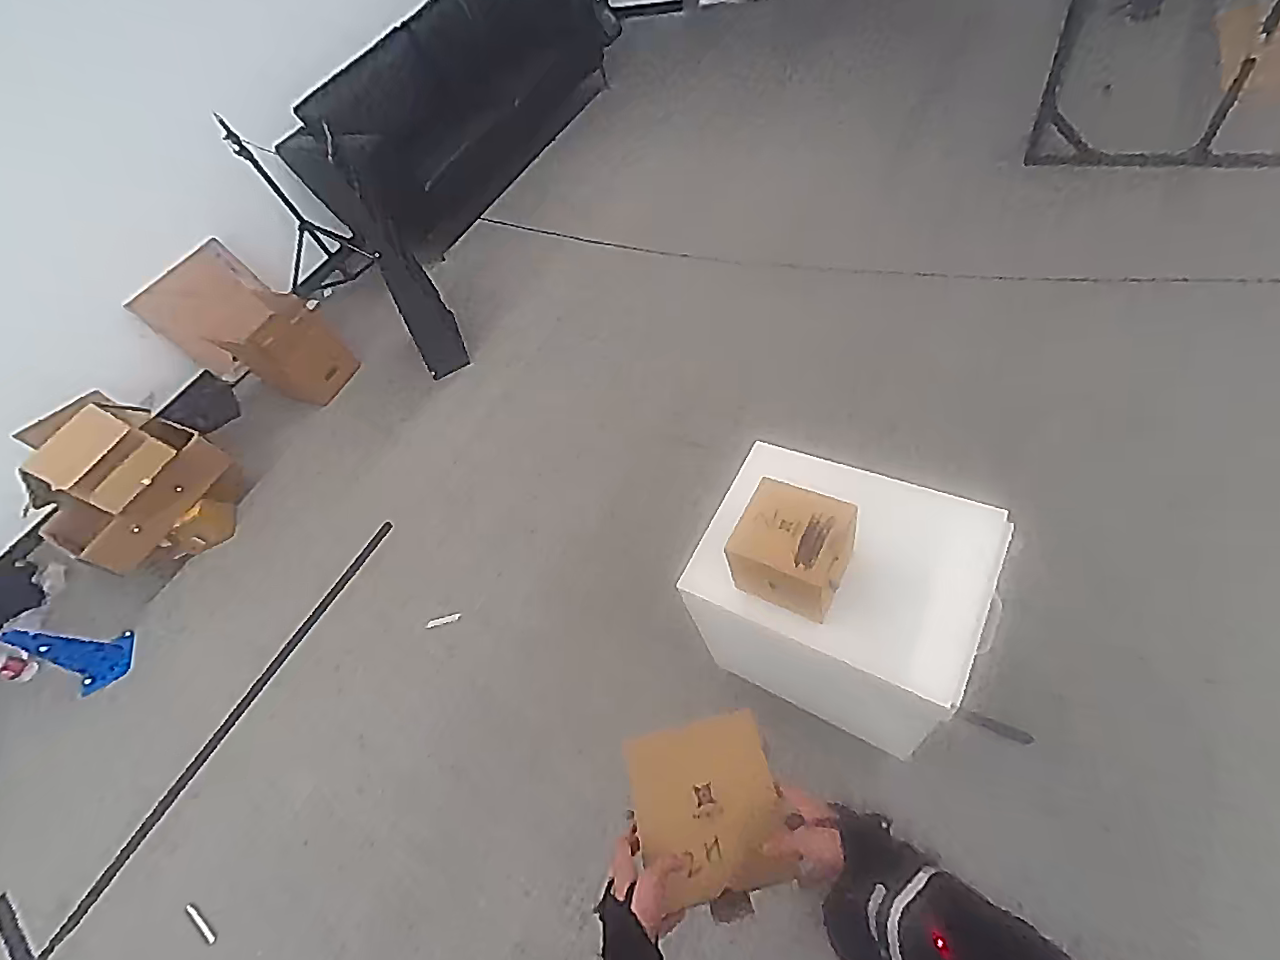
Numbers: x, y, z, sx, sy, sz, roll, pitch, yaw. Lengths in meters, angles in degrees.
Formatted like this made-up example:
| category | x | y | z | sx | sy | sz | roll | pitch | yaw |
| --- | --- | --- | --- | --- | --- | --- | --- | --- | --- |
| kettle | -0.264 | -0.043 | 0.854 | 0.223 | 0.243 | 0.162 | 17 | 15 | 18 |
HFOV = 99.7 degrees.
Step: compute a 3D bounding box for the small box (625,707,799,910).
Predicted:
| category | x | y | z | sx | sy | sz | roll | pitch | yaw |
| --- | --- | --- | --- | --- | --- | --- | --- | --- | --- |
| small box | 0.080 | 0.412 | 0.686 | 0.168 | 0.176 | 0.179 | -13 | 57 | -3 |
